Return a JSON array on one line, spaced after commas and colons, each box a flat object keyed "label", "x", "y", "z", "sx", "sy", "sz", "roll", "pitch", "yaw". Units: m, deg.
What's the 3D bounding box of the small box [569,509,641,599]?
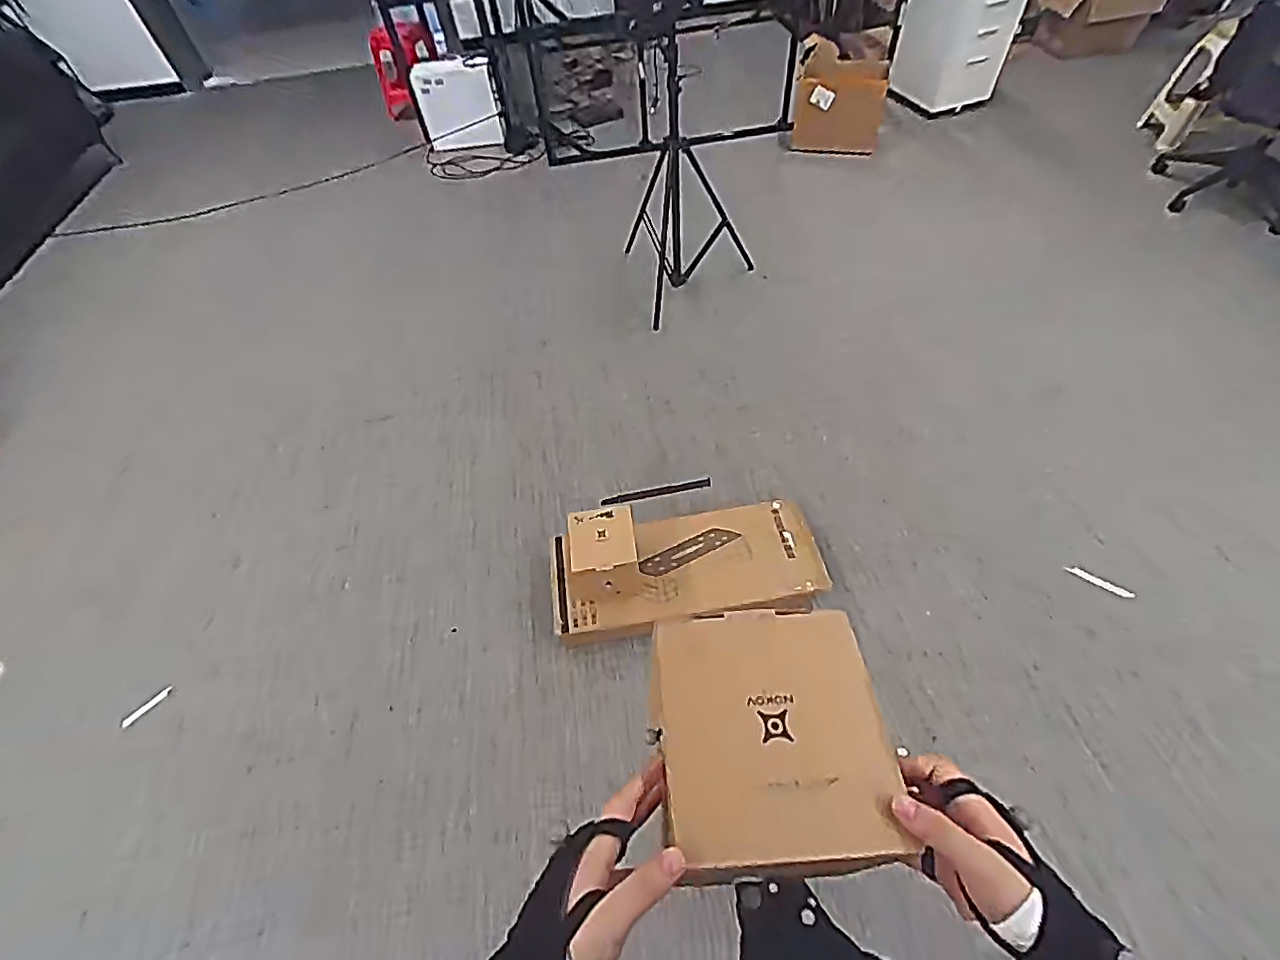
[{"label": "small box", "x": -0.090, "y": 0.201, "z": 1.421, "sx": 0.168, "sy": 0.176, "sz": 0.179, "roll": -8, "pitch": 54, "yaw": -2}]
